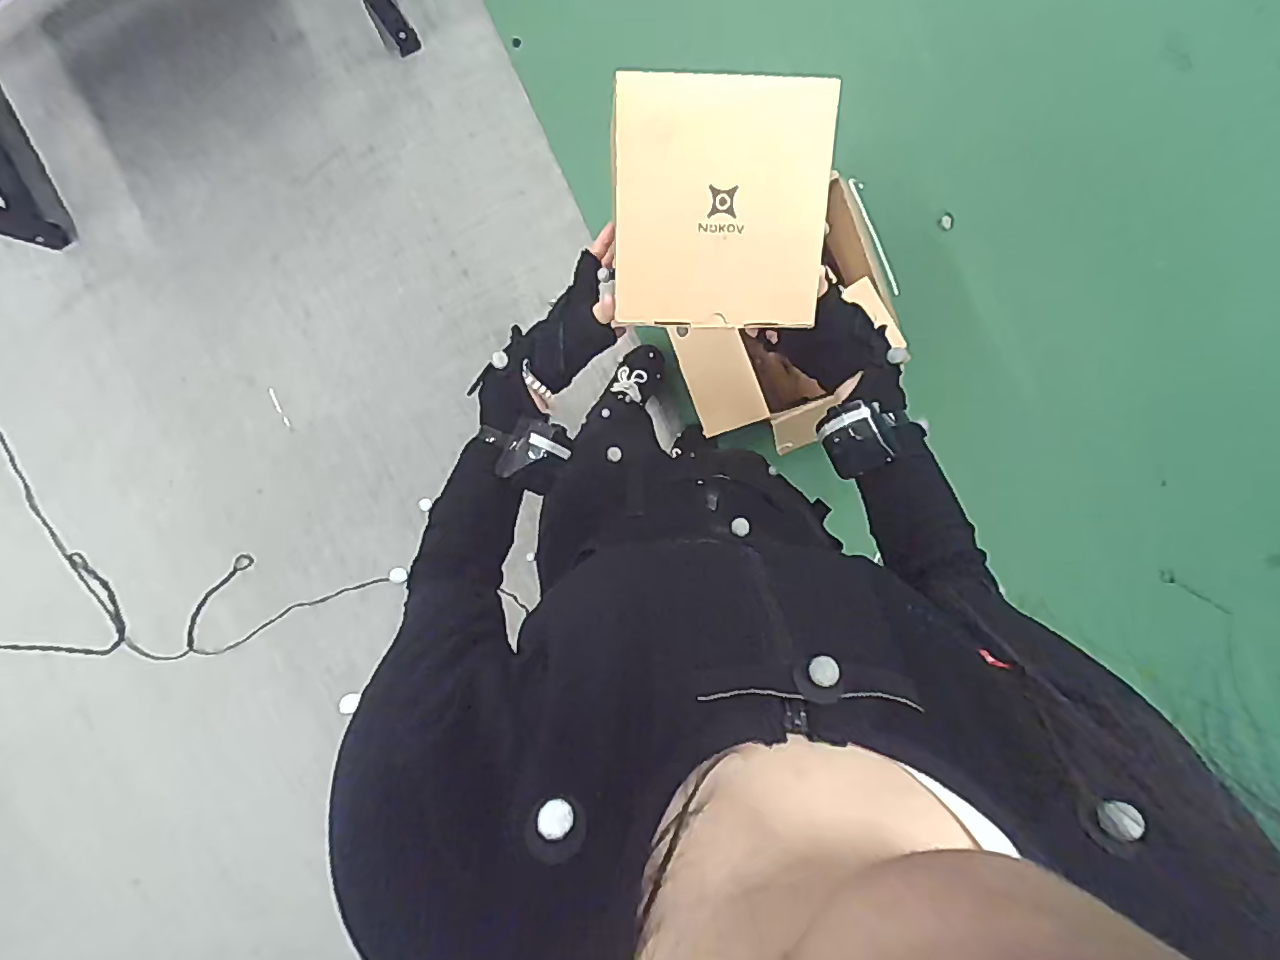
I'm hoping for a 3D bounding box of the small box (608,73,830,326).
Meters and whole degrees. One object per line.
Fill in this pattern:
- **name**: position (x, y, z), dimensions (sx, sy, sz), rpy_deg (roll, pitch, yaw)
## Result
- **small box**: position (0.055, -0.238, 0.500), dimensions (0.168, 0.176, 0.179), rpy_deg (0, 109, -4)
